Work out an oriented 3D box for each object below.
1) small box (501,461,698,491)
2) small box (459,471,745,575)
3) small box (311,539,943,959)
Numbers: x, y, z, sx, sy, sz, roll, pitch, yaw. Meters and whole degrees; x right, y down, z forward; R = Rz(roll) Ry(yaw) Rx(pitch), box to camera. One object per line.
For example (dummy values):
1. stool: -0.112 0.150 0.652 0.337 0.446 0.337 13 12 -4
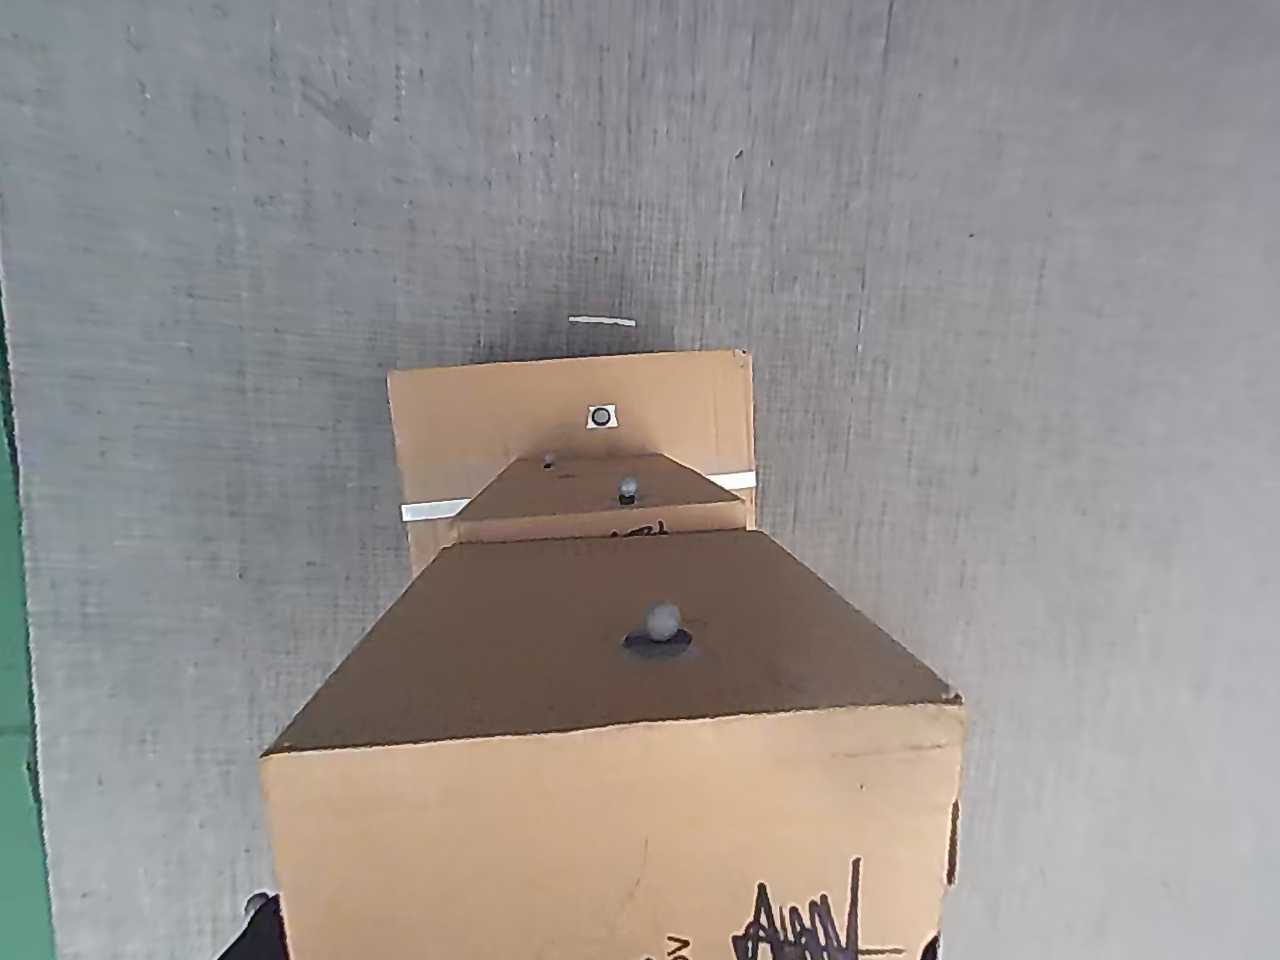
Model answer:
1. small box: -0.041 0.072 0.561 0.179 0.176 0.168 -4 98 -8
2. small box: -0.024 0.094 0.399 0.168 0.176 0.179 -4 98 -5
3. small box: -0.004 0.126 0.238 0.179 0.176 0.168 -2 98 -3
